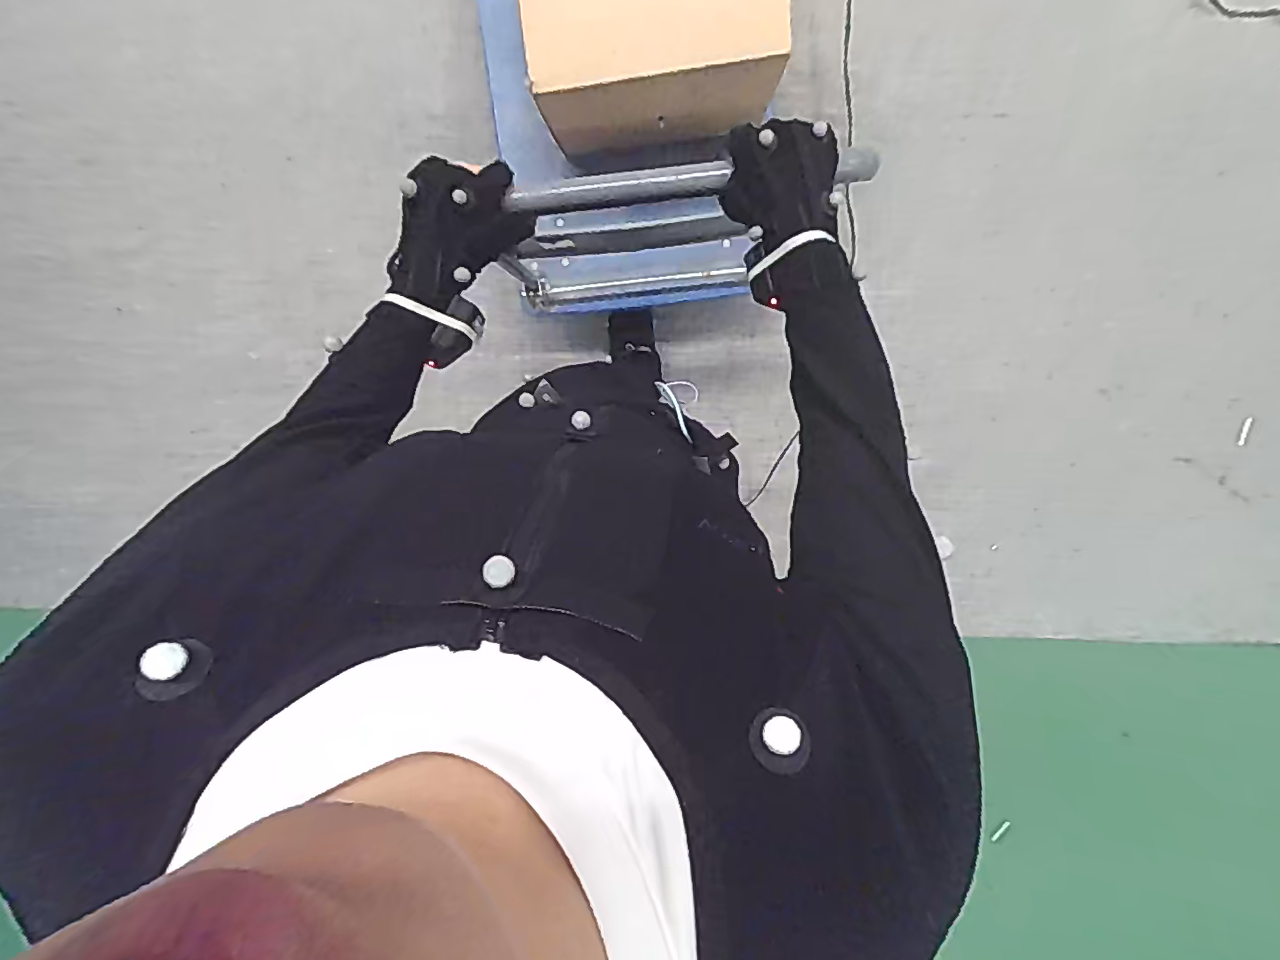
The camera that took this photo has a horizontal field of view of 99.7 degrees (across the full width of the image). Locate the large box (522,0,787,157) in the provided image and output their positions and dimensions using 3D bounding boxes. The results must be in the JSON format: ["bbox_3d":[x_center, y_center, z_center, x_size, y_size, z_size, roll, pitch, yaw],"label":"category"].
[{"bbox_3d":[0.022,-0.810,0.951,0.408,0.320,0.320,-5,103,5],"label":"large box"}]
